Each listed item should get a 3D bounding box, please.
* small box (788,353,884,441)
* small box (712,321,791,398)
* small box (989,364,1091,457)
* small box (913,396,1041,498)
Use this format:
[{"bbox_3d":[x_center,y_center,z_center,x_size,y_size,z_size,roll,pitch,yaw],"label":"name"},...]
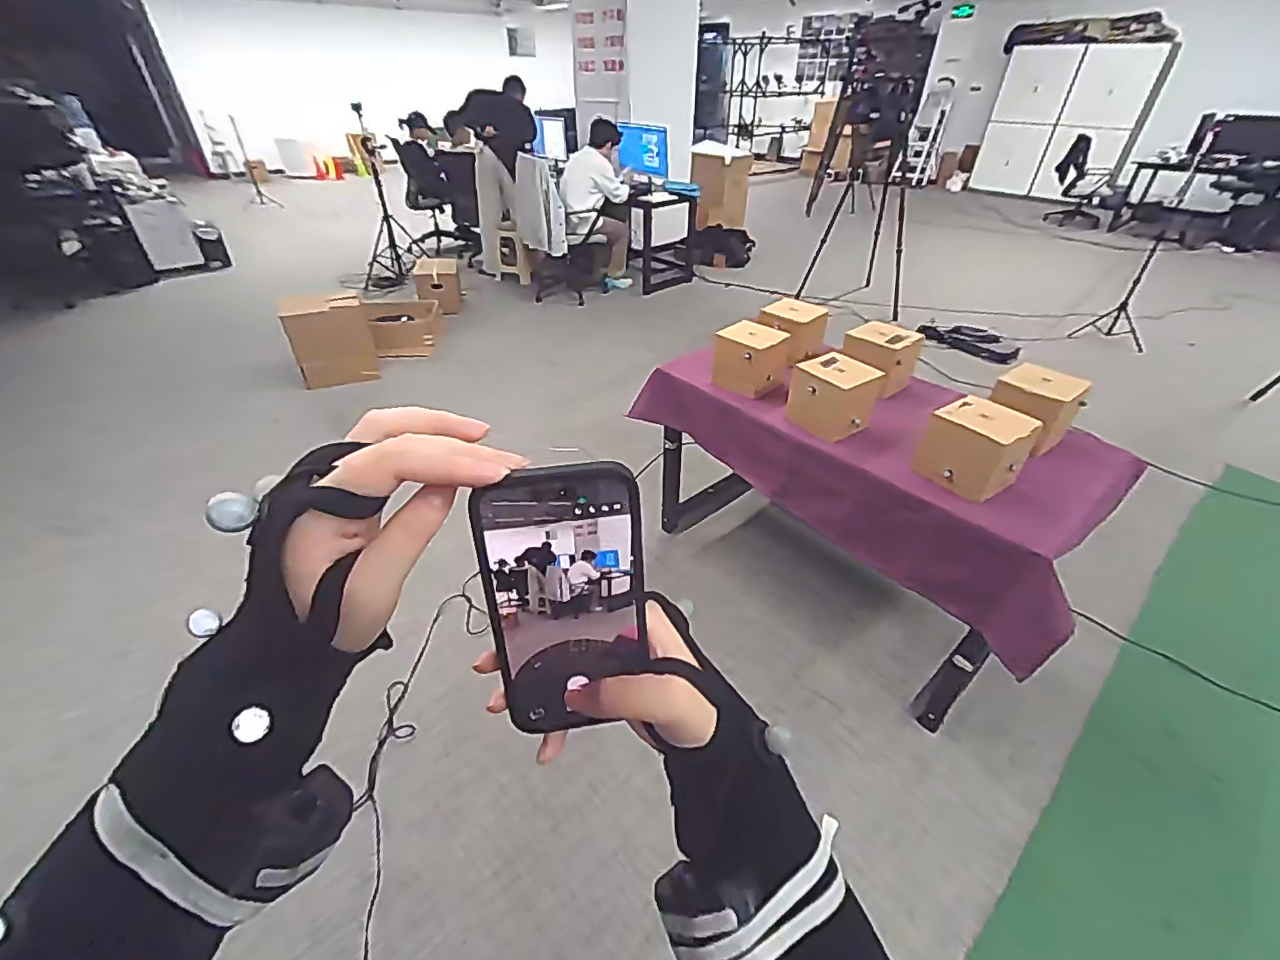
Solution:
[{"bbox_3d":[0.539,-0.232,1.511,0.168,0.176,0.179,-22,43,-27],"label":"small box"},{"bbox_3d":[0.346,-0.381,1.709,0.179,0.176,0.168,31,46,32],"label":"small box"},{"bbox_3d":[1.053,-0.189,1.458,0.179,0.176,0.168,-25,43,-28],"label":"small box"},{"bbox_3d":[0.804,-0.075,1.305,0.168,0.176,0.179,-21,42,-27],"label":"small box"}]
